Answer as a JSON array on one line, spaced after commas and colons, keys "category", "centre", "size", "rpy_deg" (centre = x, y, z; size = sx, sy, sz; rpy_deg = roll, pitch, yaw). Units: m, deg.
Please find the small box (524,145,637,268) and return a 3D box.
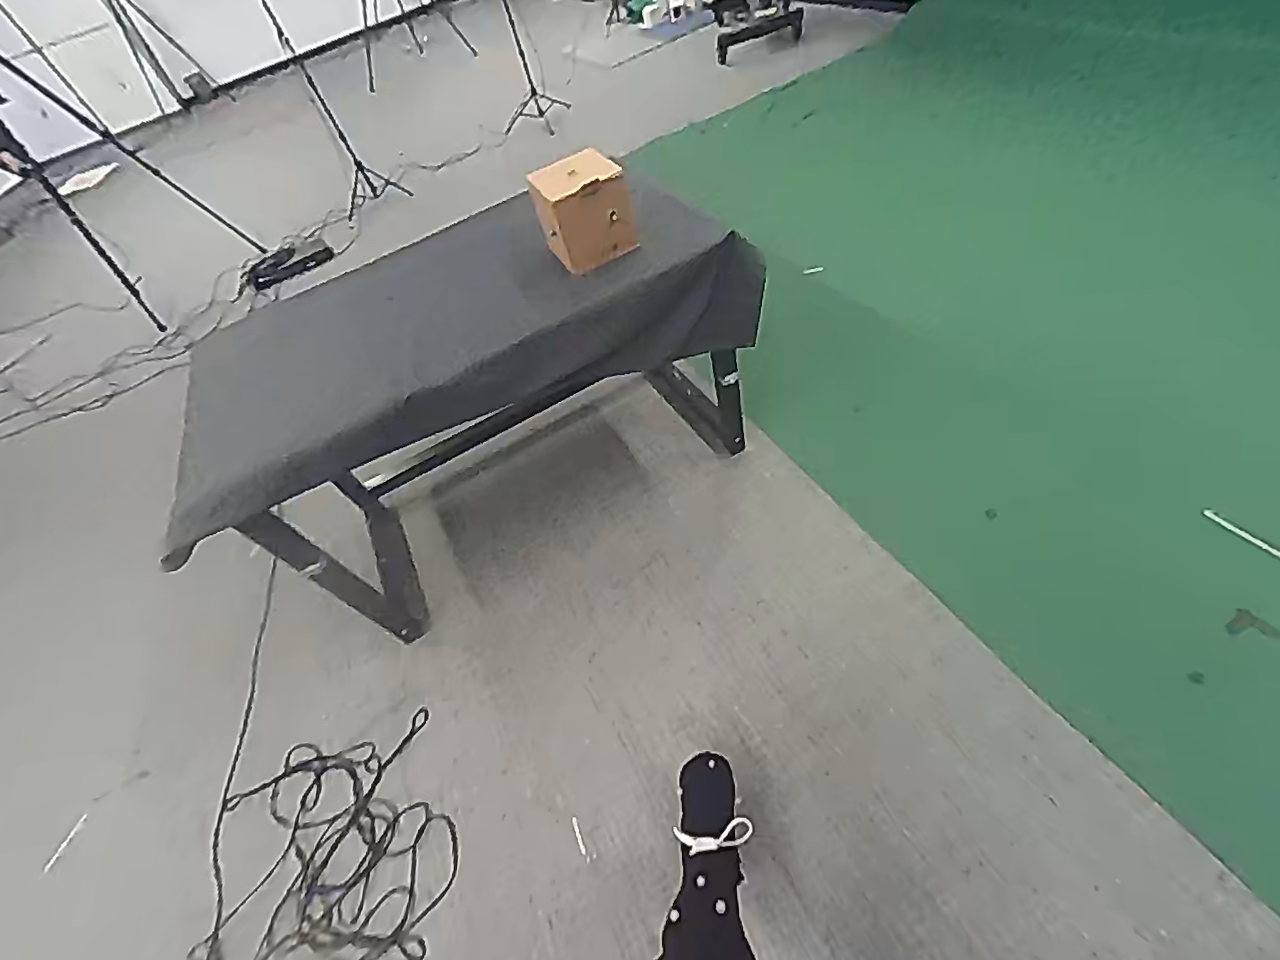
[{"category": "small box", "centre": [-0.123, -0.586, 1.169], "size": [0.168, 0.176, 0.179], "rpy_deg": [-28, 50, -9]}]
